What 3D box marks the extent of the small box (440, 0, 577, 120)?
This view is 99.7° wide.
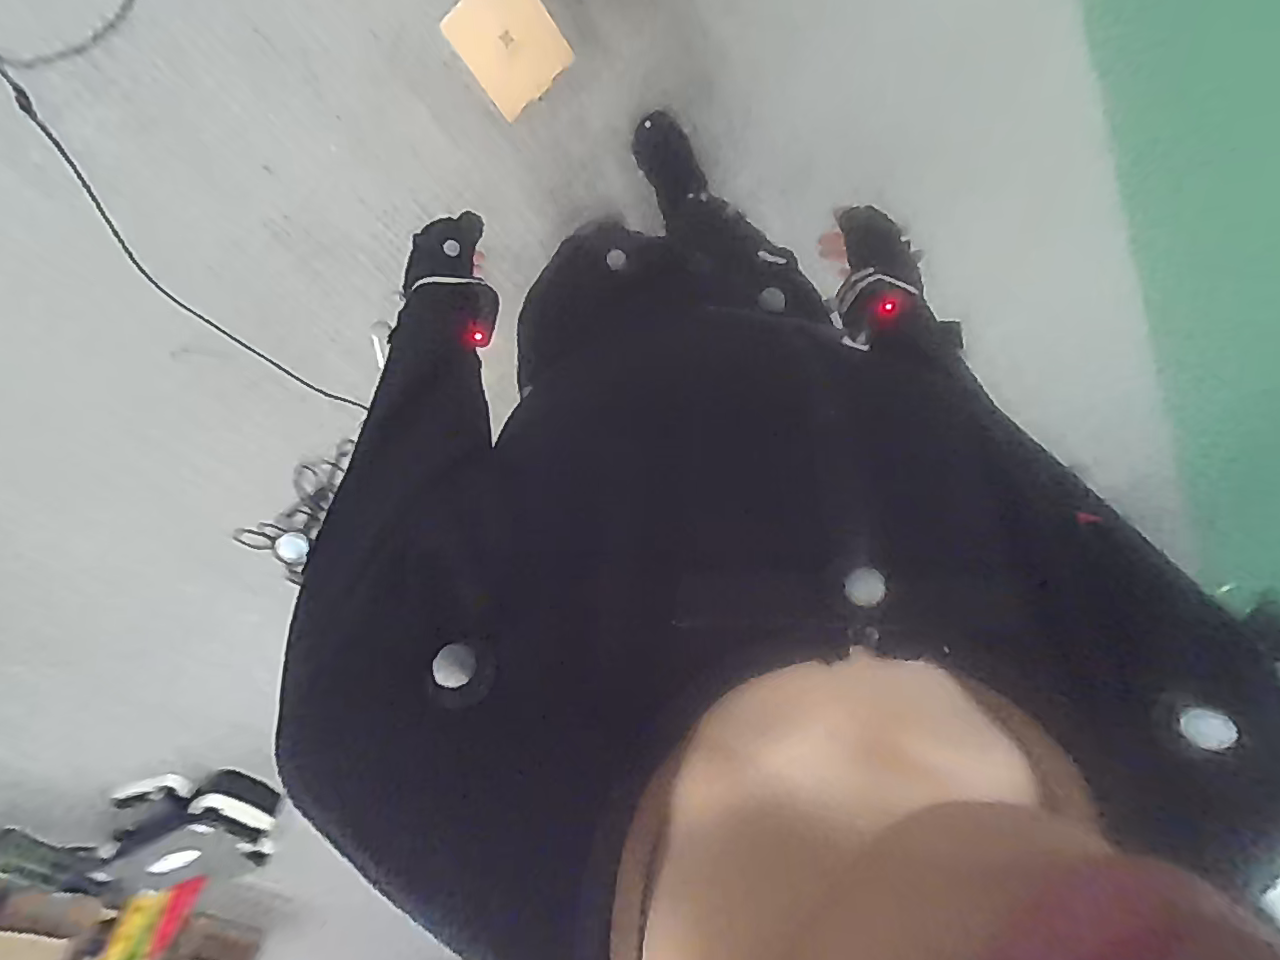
[{"bbox_3d":[-0.235,-0.805,1.005,0.168,0.176,0.179,-35,120,15],"label":"small box"}]
